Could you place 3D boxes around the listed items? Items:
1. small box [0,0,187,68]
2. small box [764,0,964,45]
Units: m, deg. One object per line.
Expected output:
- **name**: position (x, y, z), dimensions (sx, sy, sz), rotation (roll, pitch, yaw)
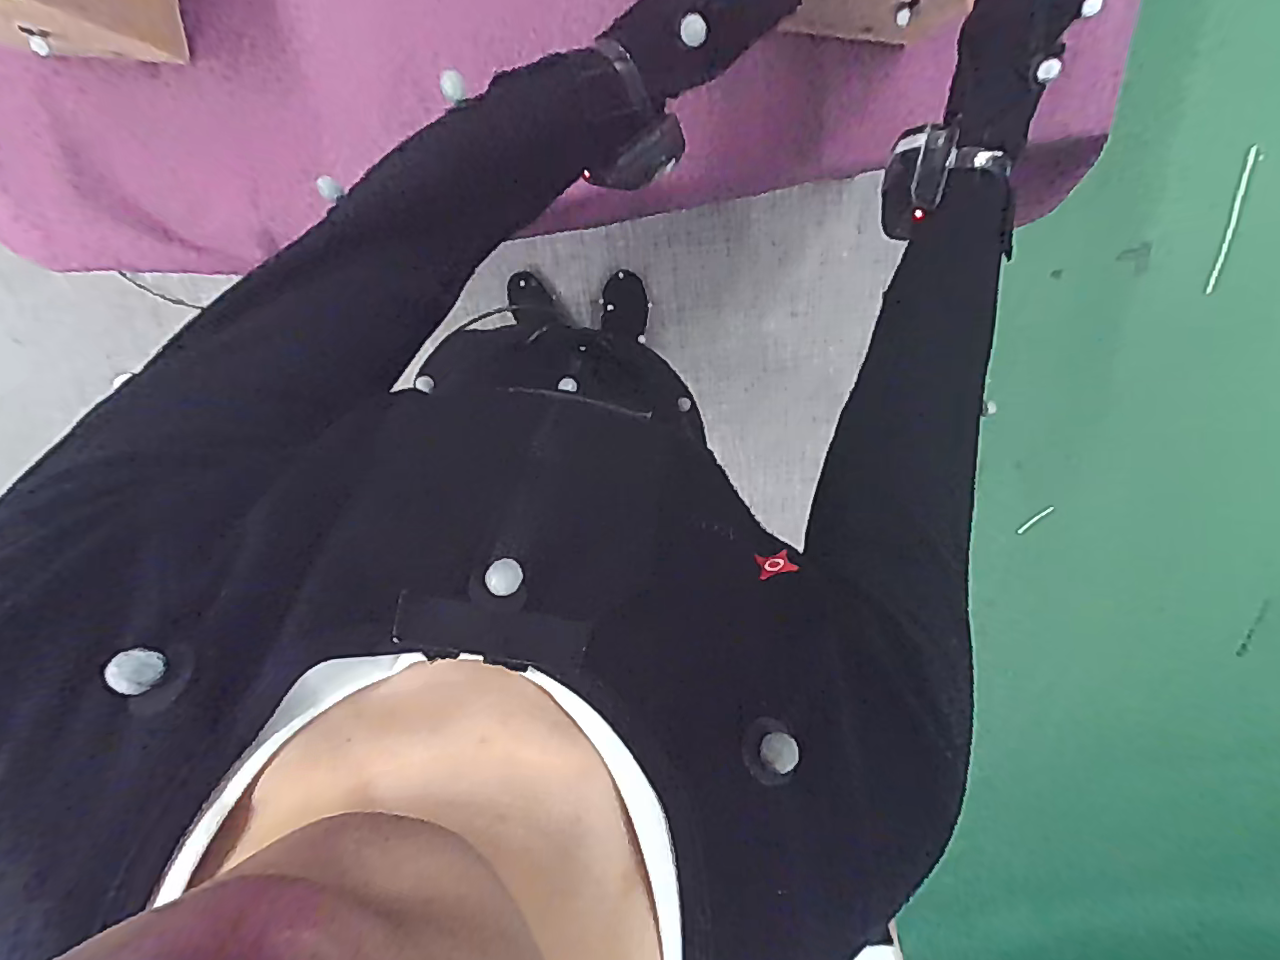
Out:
- **small box**: position (-0.530, -0.467, 0.444), dimensions (0.168, 0.176, 0.179), rotation (3, 114, -2)
- **small box**: position (0.202, -0.483, 0.430), dimensions (0.168, 0.176, 0.179), rotation (6, 113, 0)
